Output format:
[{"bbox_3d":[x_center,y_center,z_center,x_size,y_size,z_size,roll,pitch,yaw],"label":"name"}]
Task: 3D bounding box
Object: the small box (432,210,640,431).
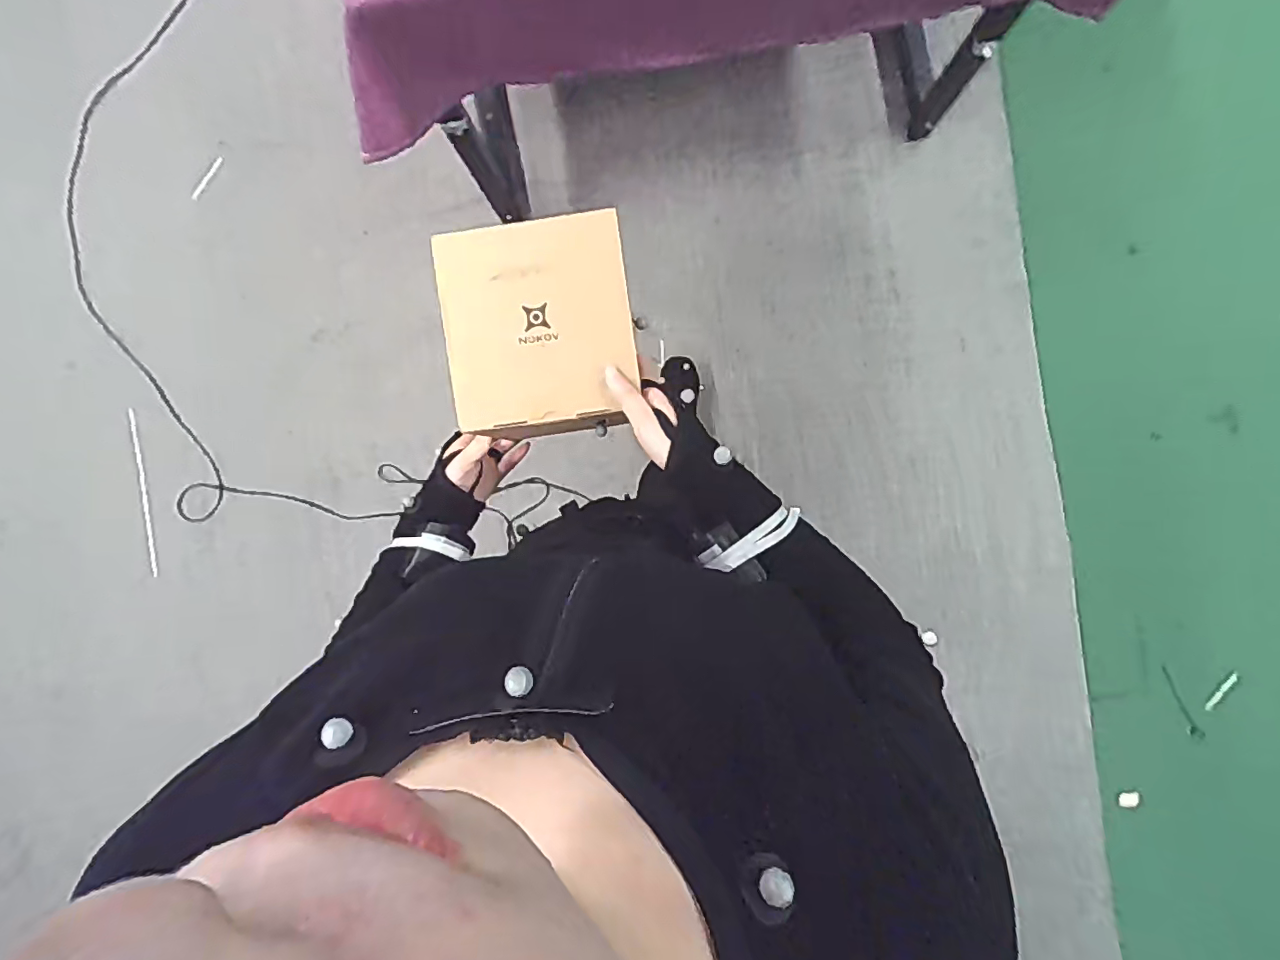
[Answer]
[{"bbox_3d":[-0.091,-0.145,0.555,0.168,0.176,0.179,-8,92,0],"label":"small box"}]
